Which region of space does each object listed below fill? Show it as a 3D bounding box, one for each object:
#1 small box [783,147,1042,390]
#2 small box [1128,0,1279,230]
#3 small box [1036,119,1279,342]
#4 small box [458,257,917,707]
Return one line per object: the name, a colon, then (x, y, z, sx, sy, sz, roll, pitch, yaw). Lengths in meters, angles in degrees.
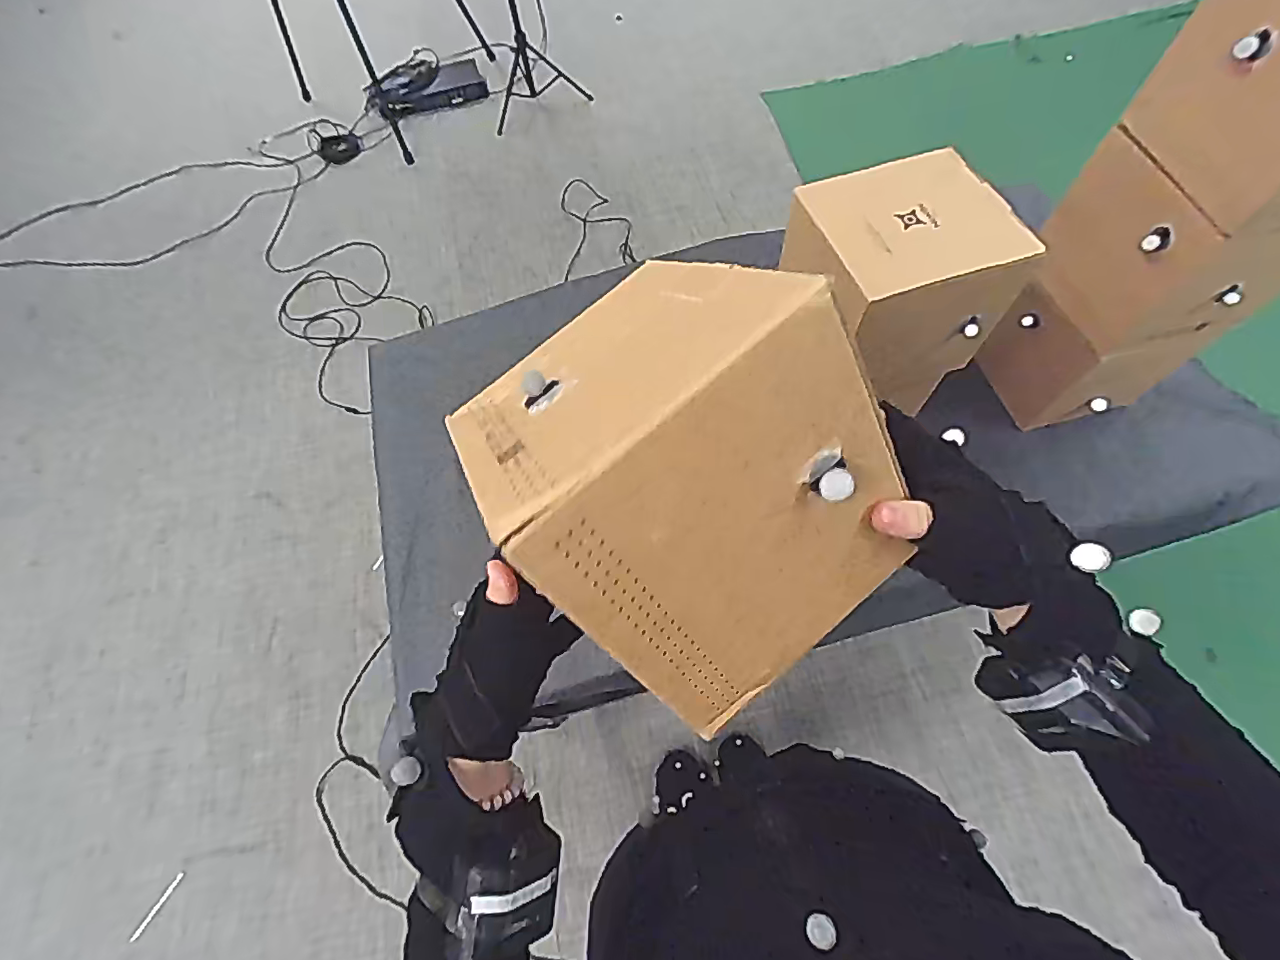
small box: (0.267, -0.215, 0.589, 0.179, 0.176, 0.168, -16, 63, -3)
small box: (0.569, -0.340, 0.439, 0.168, 0.176, 0.179, -11, 64, 0)
small box: (0.583, -0.271, 0.588, 0.168, 0.176, 0.179, -12, 64, -1)
small box: (0.021, -0.001, 0.320, 0.176, 0.179, 0.168, -40, 34, -3)
